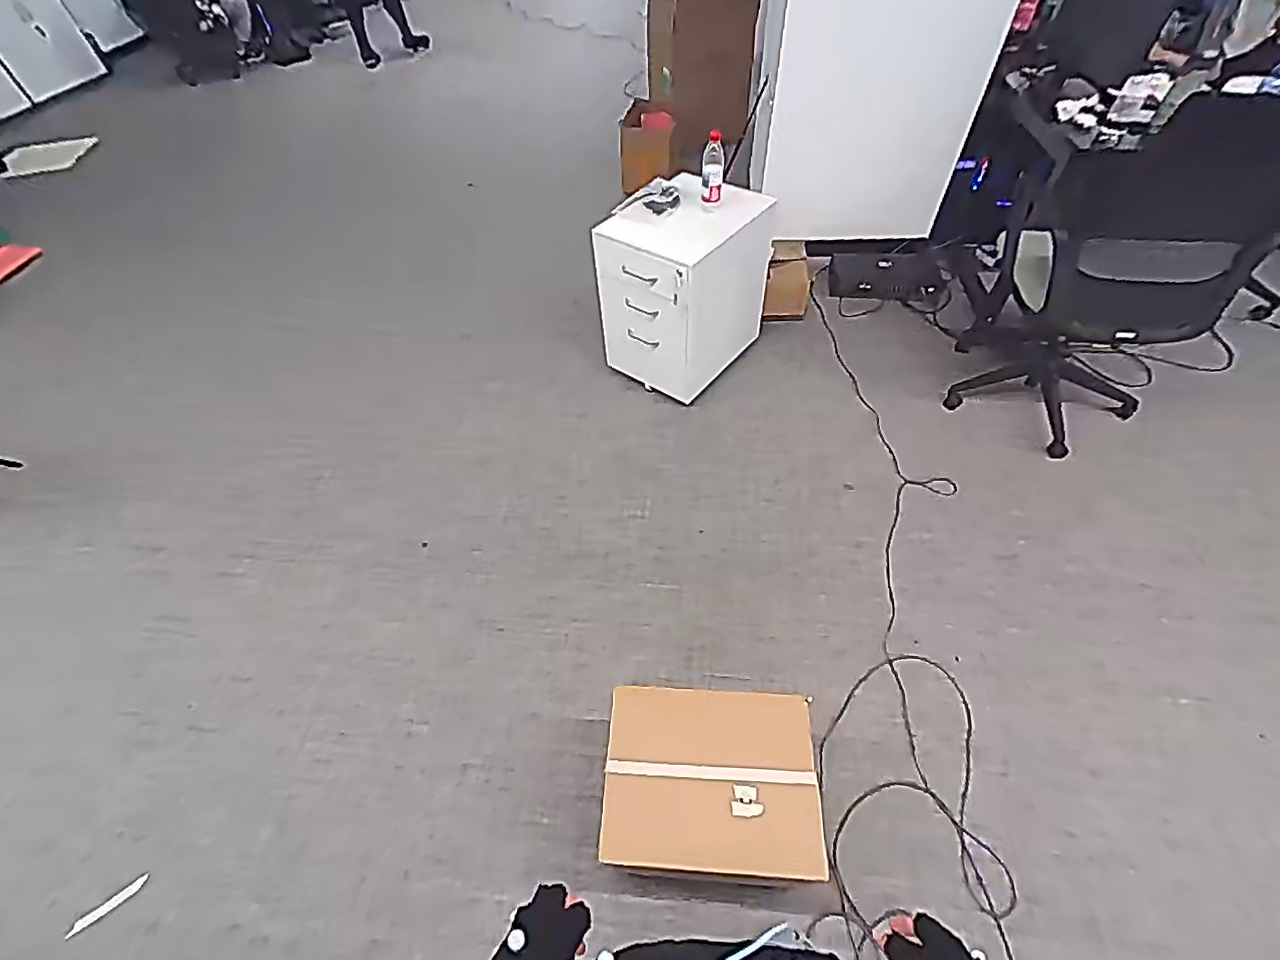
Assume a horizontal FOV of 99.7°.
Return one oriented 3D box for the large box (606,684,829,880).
[{"bbox_3d":[0.148,0.653,1.165,0.408,0.320,0.320,2,52,4],"label":"large box"}]
